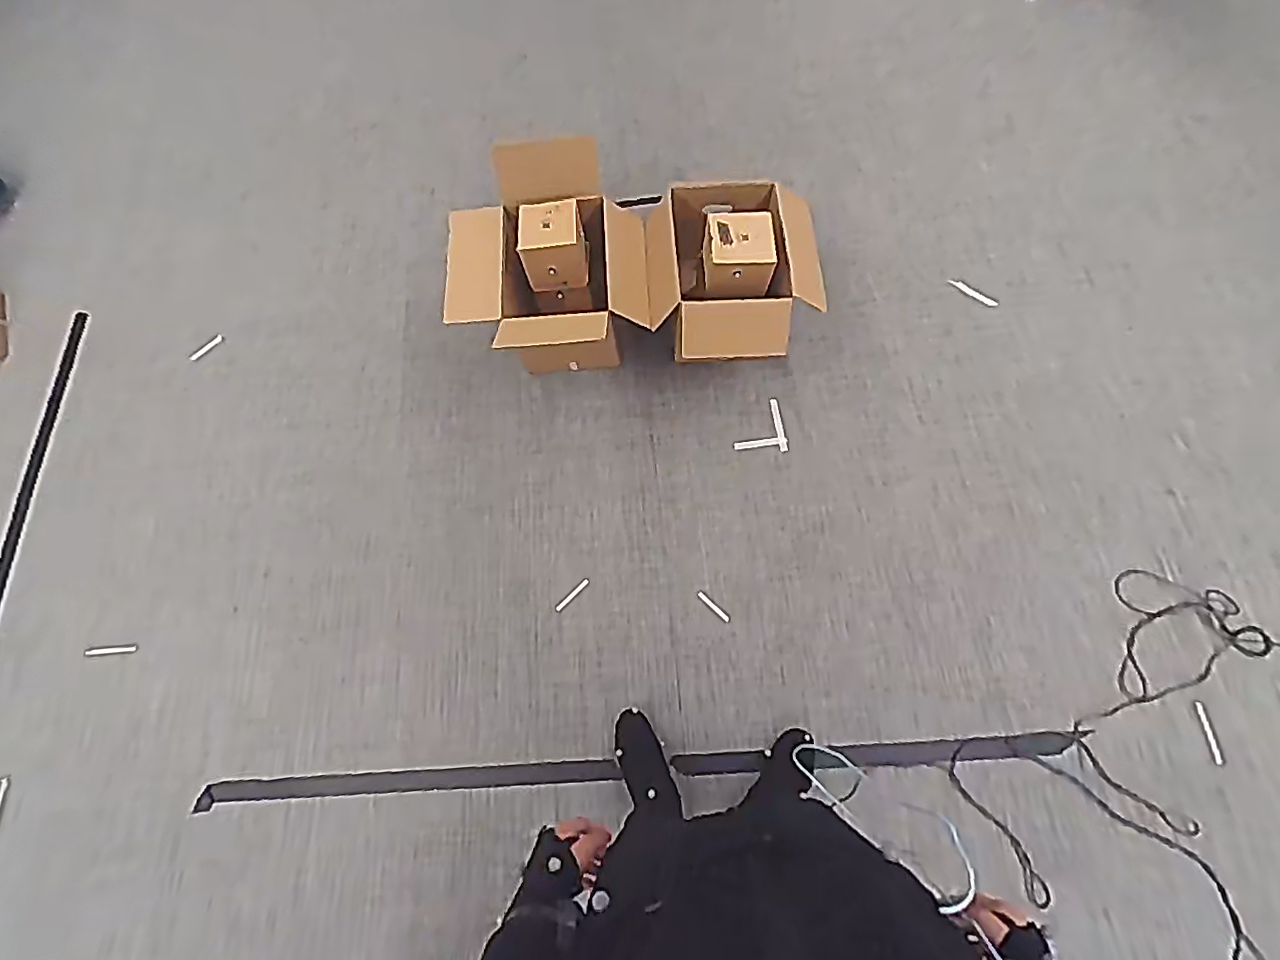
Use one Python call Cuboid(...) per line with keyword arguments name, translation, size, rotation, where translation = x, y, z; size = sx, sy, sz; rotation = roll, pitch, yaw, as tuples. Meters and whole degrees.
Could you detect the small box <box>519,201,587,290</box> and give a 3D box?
Cuboid(name="small box", translation=(-0.248, -0.678, 1.583), size=(0.168, 0.176, 0.179), rotation=(-5, 66, 3))
